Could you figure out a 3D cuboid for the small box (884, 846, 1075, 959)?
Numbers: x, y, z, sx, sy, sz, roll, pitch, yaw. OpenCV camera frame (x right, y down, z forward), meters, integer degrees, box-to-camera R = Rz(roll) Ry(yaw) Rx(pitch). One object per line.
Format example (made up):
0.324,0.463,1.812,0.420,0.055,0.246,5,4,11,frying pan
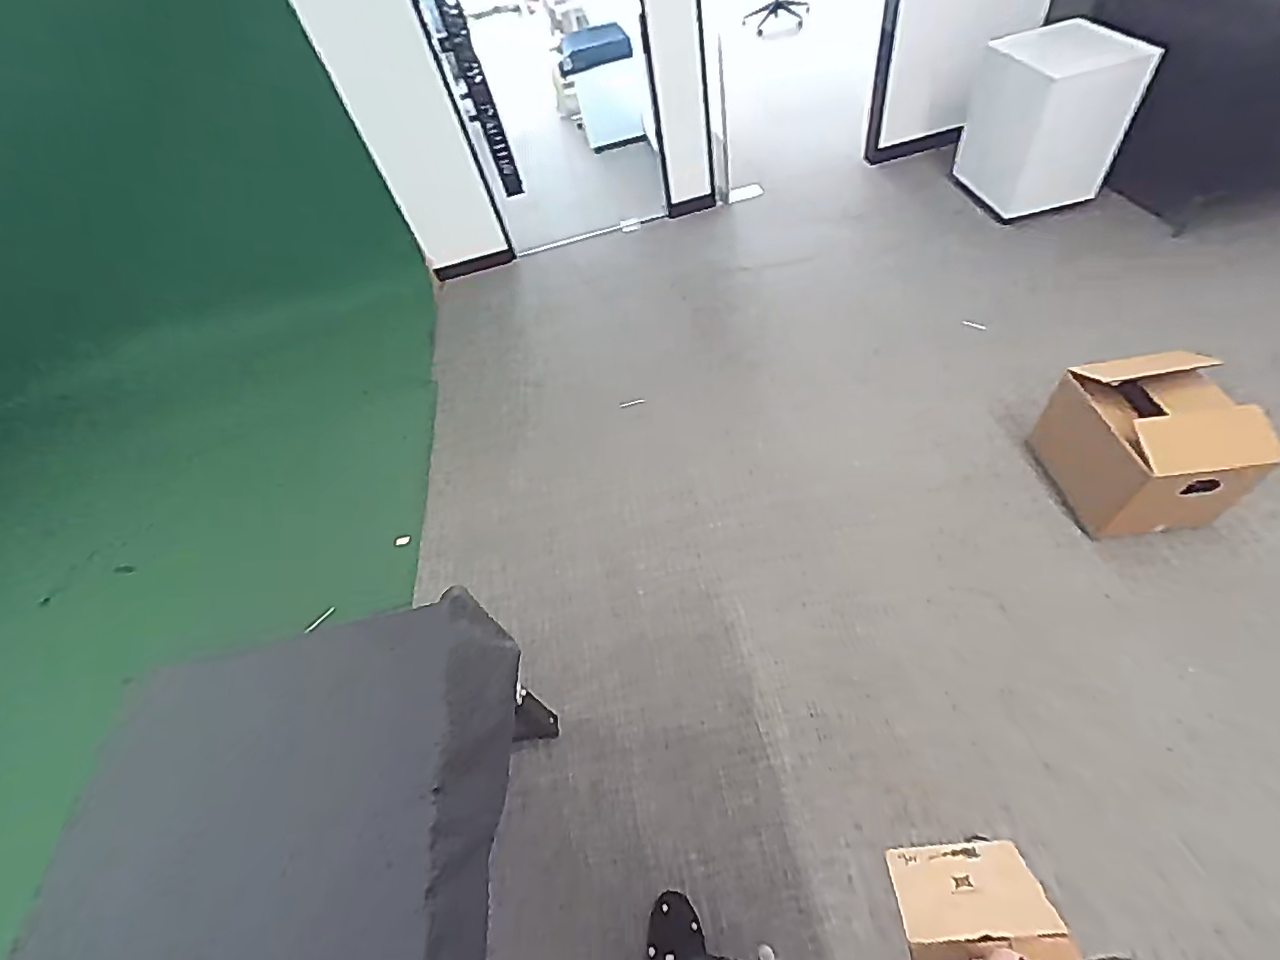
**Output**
0.421,0.589,0.653,0.168,0.179,0.176,-17,81,12,small box
